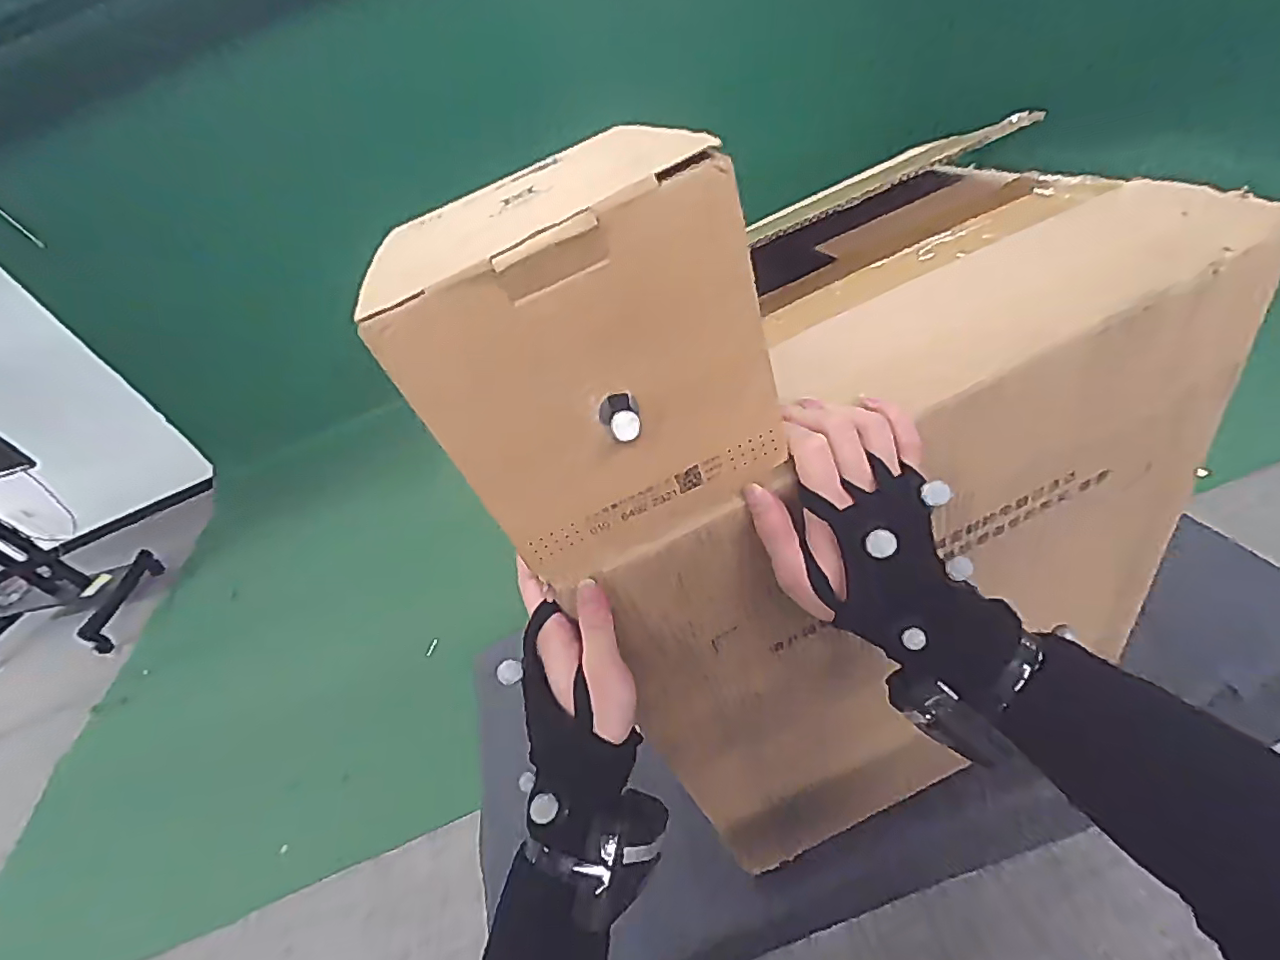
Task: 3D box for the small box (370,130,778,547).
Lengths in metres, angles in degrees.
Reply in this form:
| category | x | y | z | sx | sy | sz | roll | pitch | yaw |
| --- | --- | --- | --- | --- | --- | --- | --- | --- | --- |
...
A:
| category | x | y | z | sx | sy | sz | roll | pitch | yaw |
| --- | --- | --- | --- | --- | --- | --- | --- | --- | --- |
| small box | -0.033 | -0.082 | 0.332 | 0.168 | 0.176 | 0.179 | -25 | 40 | -1 |
